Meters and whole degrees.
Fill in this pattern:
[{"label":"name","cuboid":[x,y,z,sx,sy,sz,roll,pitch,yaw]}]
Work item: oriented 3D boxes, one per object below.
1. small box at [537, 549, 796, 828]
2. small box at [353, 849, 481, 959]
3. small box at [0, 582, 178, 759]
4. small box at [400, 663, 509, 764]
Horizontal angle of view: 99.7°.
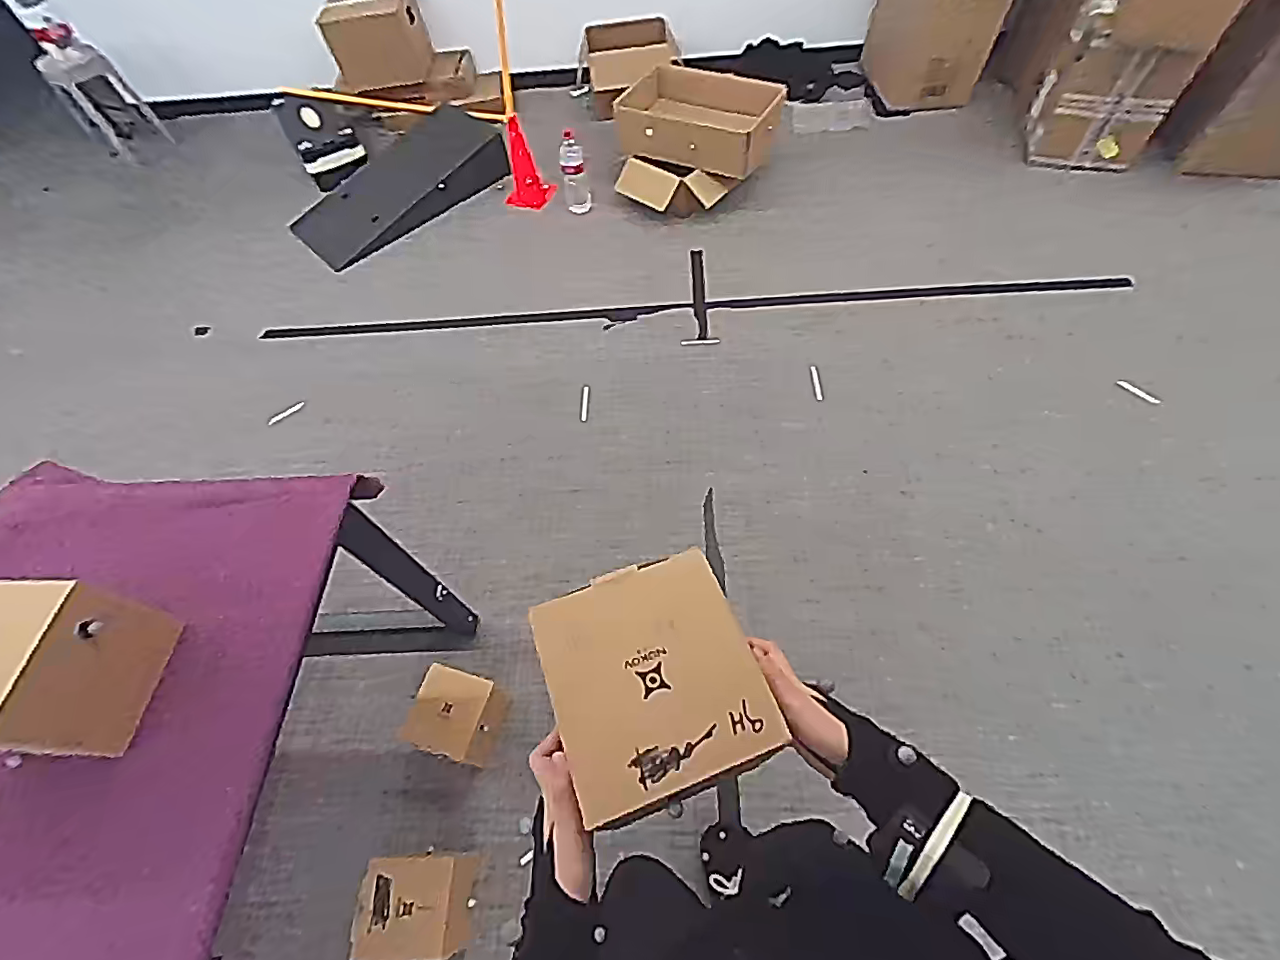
[{"label":"small box","cuboid":[0.016,0.197,0.501,0.168,0.176,0.179,-18,57,-8]},{"label":"small box","cuboid":[-0.448,0.870,1.117,0.179,0.176,0.168,-2,59,2]},{"label":"small box","cuboid":[-0.735,0.238,0.668,0.168,0.176,0.179,-1,59,5]},{"label":"small box","cuboid":[-0.432,0.565,1.301,0.168,0.176,0.179,13,62,11]}]
